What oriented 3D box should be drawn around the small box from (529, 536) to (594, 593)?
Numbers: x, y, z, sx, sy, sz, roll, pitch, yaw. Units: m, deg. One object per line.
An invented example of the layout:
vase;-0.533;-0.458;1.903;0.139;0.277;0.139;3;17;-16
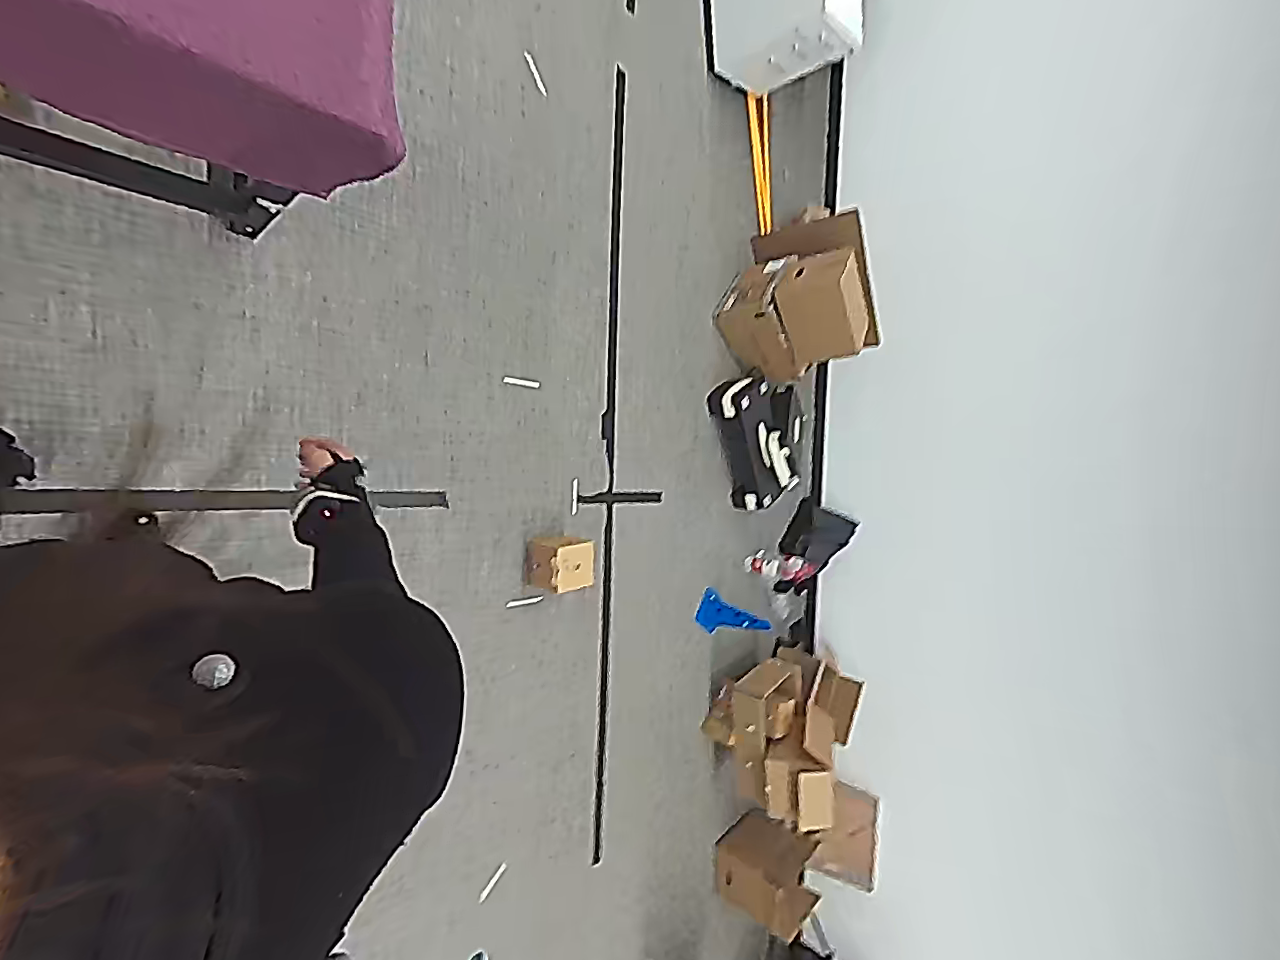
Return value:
small box;-0.292;0.305;2.001;0.179;0.176;0.168;-5;97;-46
